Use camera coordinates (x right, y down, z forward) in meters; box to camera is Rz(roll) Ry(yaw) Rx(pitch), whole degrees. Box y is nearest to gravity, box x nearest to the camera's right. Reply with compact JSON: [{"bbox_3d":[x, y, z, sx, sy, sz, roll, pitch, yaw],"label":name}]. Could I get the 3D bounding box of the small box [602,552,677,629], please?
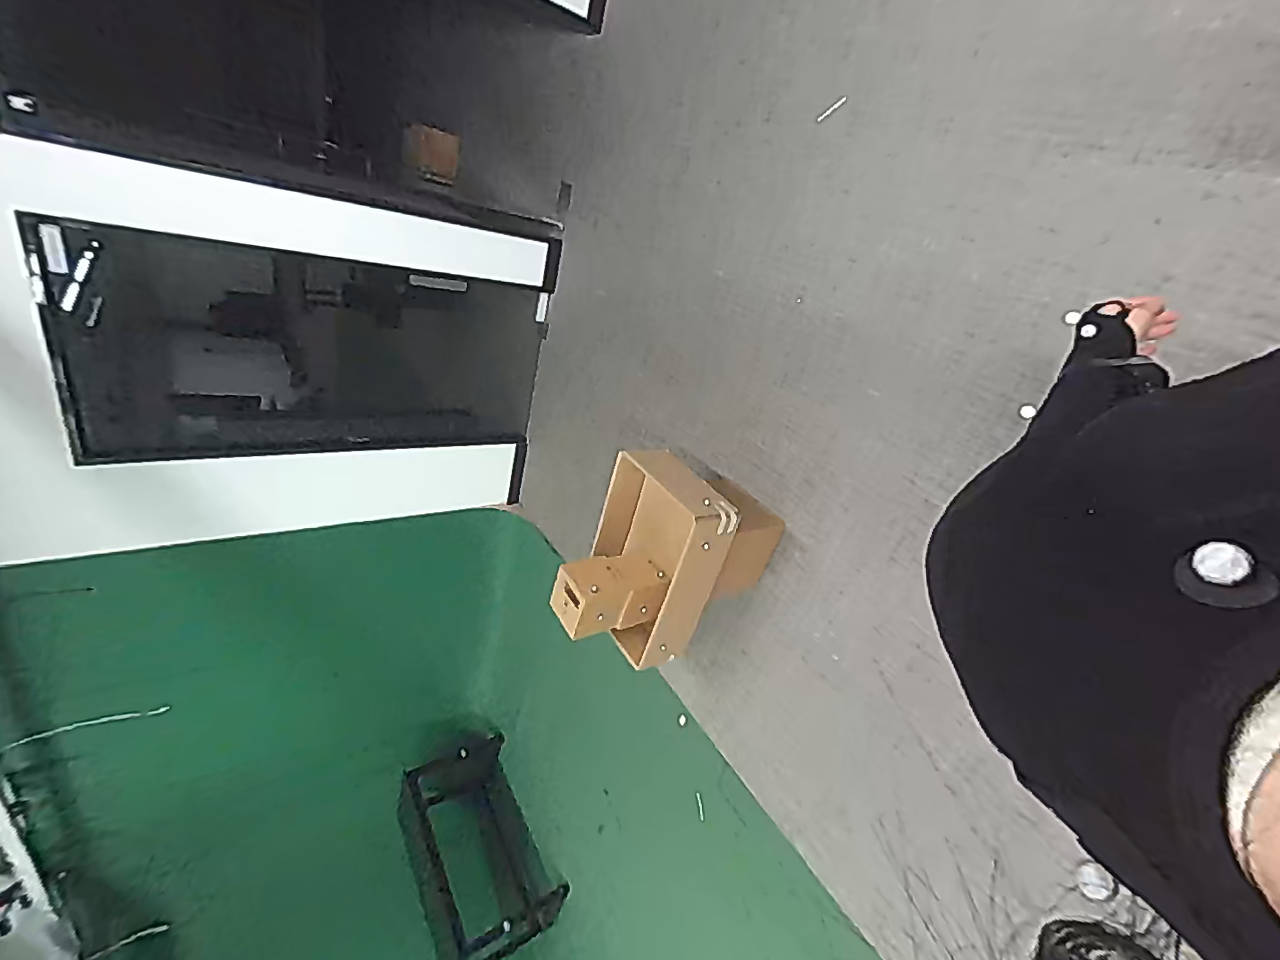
[{"bbox_3d":[0.000,0.363,1.812,0.168,0.176,0.179,45,129,41],"label":"small box"}]
